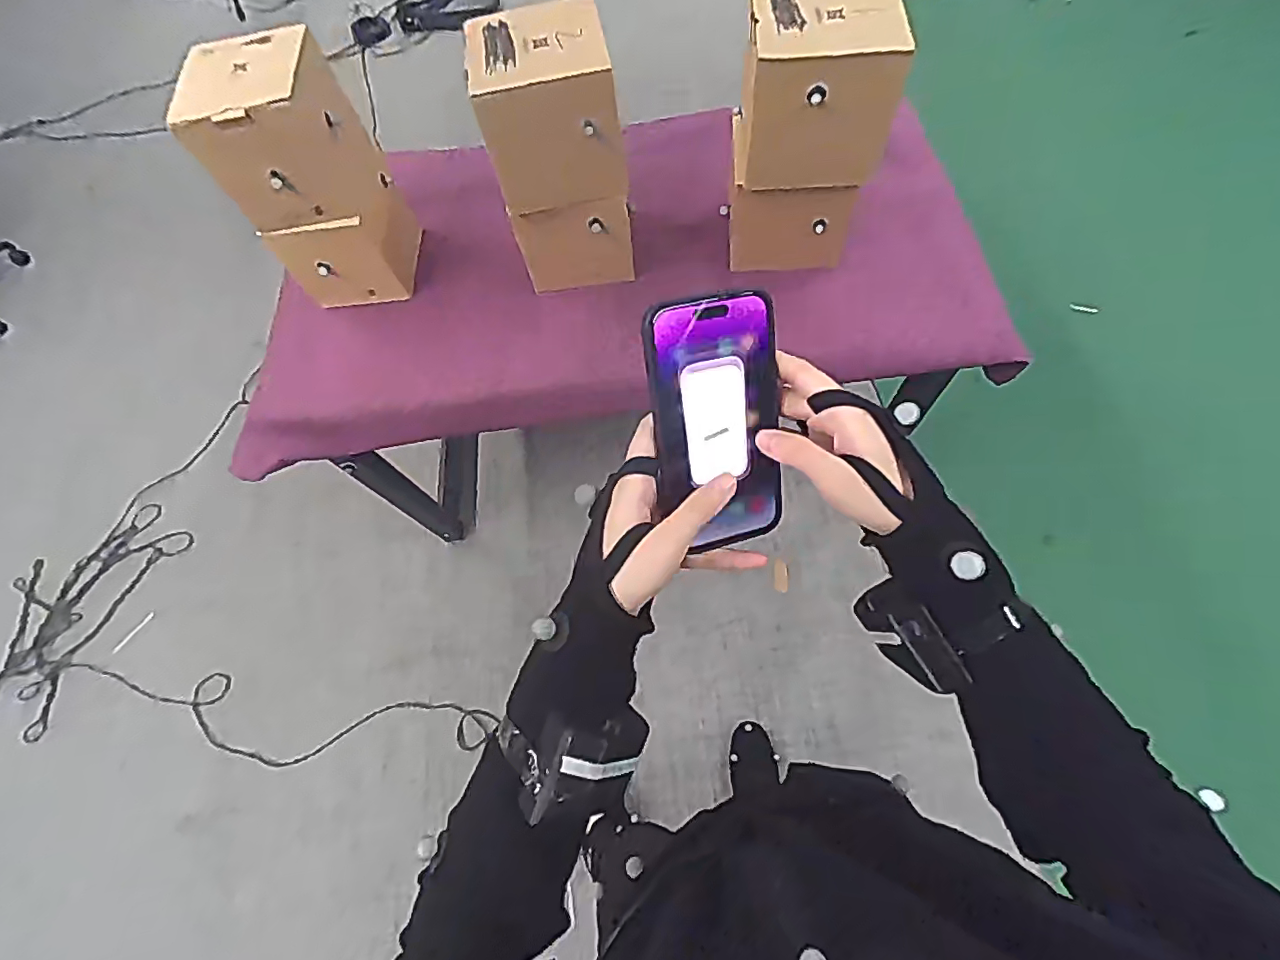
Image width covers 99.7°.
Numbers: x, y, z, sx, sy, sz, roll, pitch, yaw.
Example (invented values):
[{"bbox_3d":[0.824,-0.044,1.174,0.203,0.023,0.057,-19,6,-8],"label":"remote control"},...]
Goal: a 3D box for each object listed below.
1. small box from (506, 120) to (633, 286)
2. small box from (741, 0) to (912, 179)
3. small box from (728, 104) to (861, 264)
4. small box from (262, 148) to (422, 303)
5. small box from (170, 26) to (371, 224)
[{"bbox_3d":[-0.106,-0.446,0.888,0.179,0.176,0.168,-6,66,4],"label":"small box"},{"bbox_3d":[0.224,-0.520,0.704,0.179,0.176,0.168,0,66,6],"label":"small box"},{"bbox_3d":[0.232,-0.468,0.859,0.179,0.176,0.168,0,66,7],"label":"small box"},{"bbox_3d":[-0.495,-0.424,0.927,0.168,0.176,0.179,-5,66,4],"label":"small box"},{"bbox_3d":[-0.514,-0.497,0.781,0.168,0.176,0.179,-10,66,2],"label":"small box"}]
